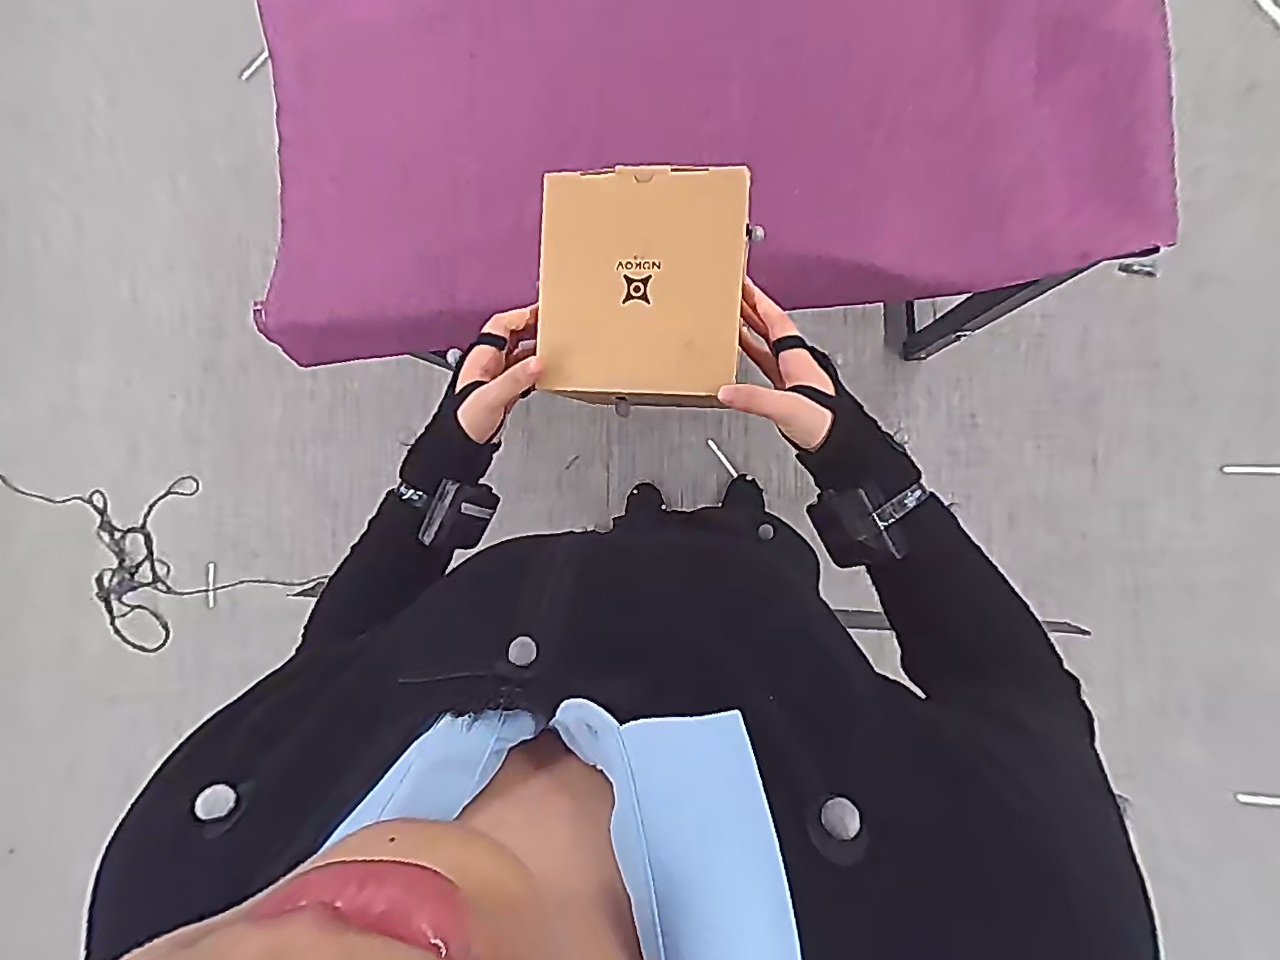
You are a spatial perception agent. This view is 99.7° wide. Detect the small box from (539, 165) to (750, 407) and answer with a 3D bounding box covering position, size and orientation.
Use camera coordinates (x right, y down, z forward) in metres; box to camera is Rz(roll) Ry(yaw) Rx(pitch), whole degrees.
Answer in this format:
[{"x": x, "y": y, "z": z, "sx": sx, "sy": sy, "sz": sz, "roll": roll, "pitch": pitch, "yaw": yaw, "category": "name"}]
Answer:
[{"x": 0.015, "y": -0.163, "z": 0.508, "sx": 0.168, "sy": 0.176, "sz": 0.179, "roll": 4, "pitch": 93, "yaw": 10, "category": "small box"}]
